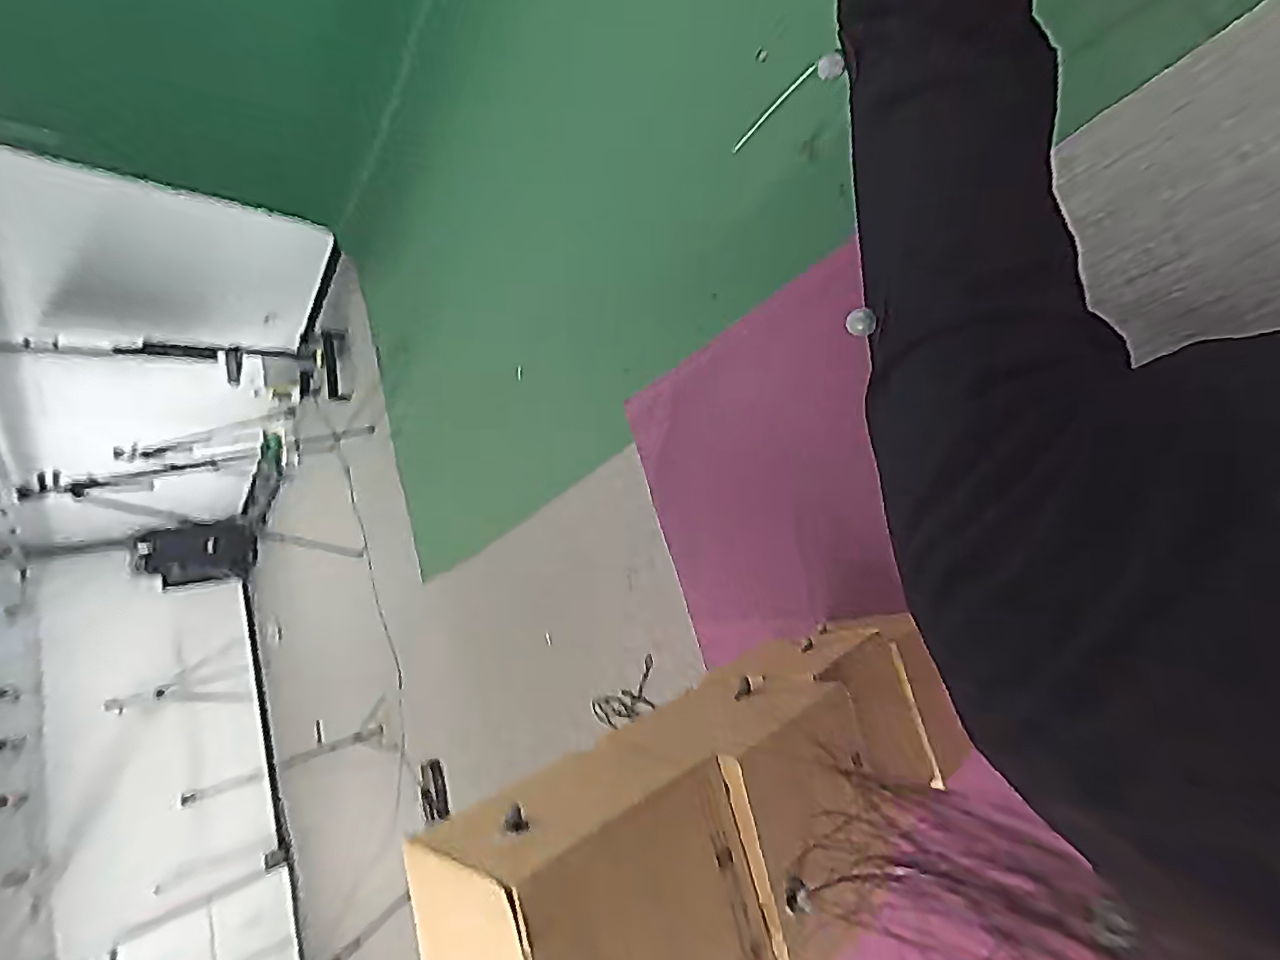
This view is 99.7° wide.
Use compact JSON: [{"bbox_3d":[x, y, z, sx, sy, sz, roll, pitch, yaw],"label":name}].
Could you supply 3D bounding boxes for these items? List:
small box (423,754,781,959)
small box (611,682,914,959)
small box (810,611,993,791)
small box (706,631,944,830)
[{"bbox_3d":[-0.023,0.308,0.375,0.179,0.176,0.168,-29,72,45],"label":"small box"},{"bbox_3d":[0.104,0.289,0.478,0.179,0.176,0.168,-24,77,46],"label":"small box"},{"bbox_3d":[0.328,0.281,0.716,0.179,0.176,0.168,-25,77,44],"label":"small box"},{"bbox_3d":[0.208,0.286,0.607,0.168,0.176,0.179,-27,75,44],"label":"small box"}]
